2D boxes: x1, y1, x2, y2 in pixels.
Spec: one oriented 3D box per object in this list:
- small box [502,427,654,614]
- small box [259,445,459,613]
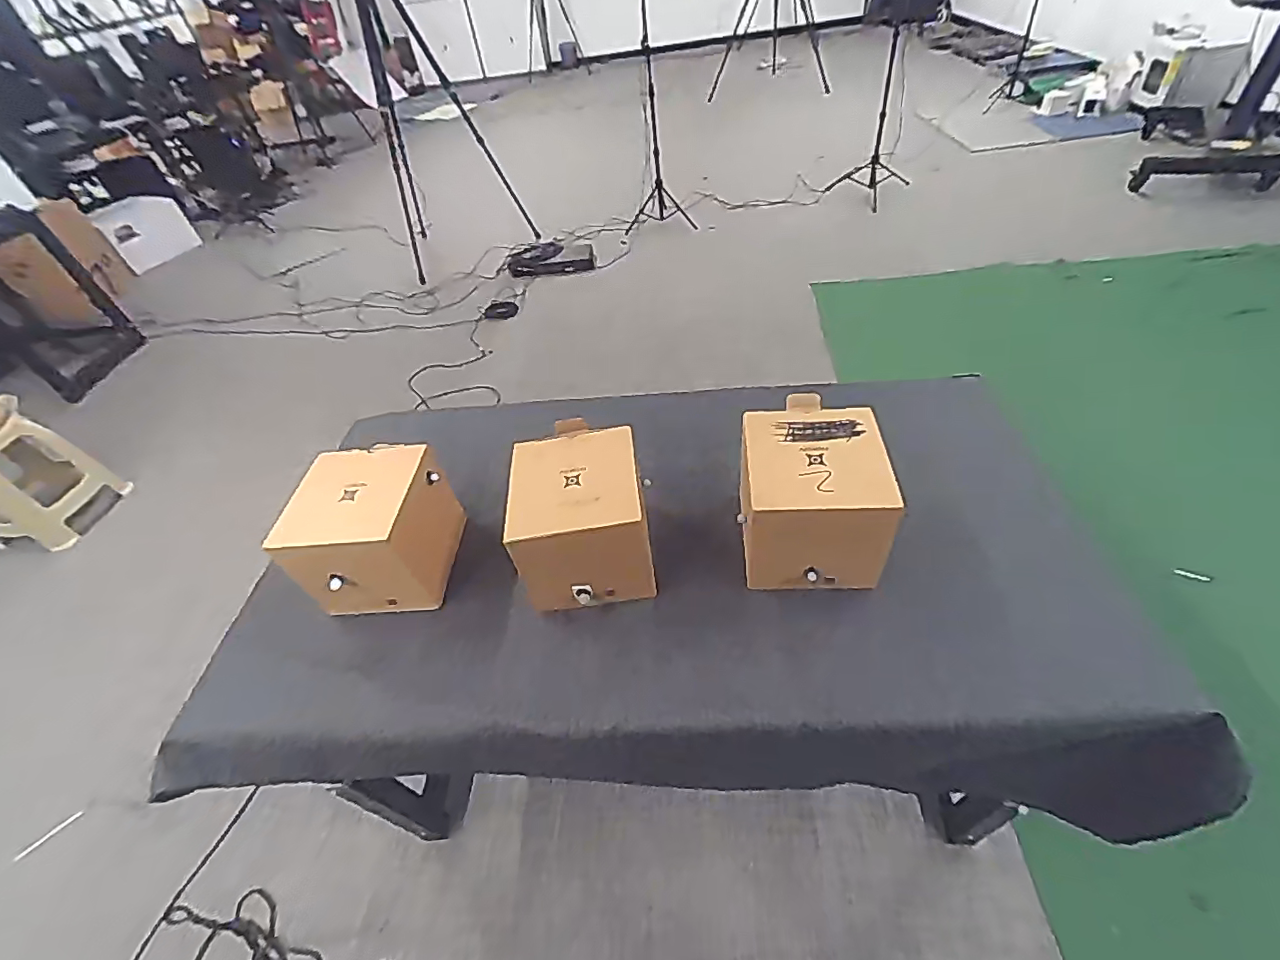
[{"bbox_3d":[-0.078,0.056,0.736,0.168,0.176,0.179,-10,46,1],"label":"small box"},{"bbox_3d":[-0.375,0.075,0.765,0.168,0.176,0.179,-5,44,4],"label":"small box"}]
